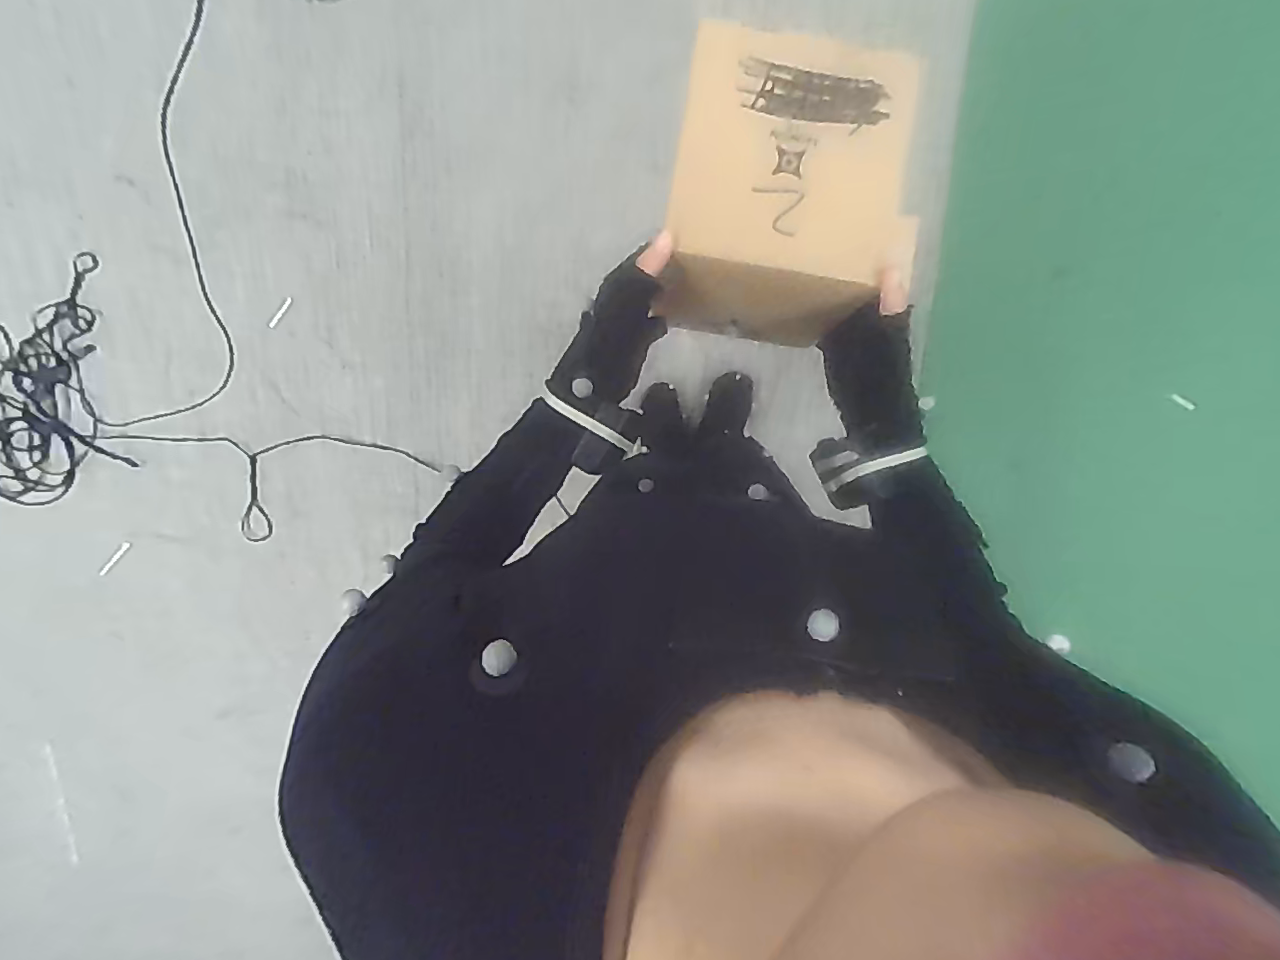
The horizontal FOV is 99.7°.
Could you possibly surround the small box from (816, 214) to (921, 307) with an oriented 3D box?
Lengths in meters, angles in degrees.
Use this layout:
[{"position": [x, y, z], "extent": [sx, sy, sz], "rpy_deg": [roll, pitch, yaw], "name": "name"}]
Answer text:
[{"position": [0.524, -0.506, 1.268], "extent": [0.168, 0.176, 0.179], "rpy_deg": [3, 102, -1], "name": "small box"}]
